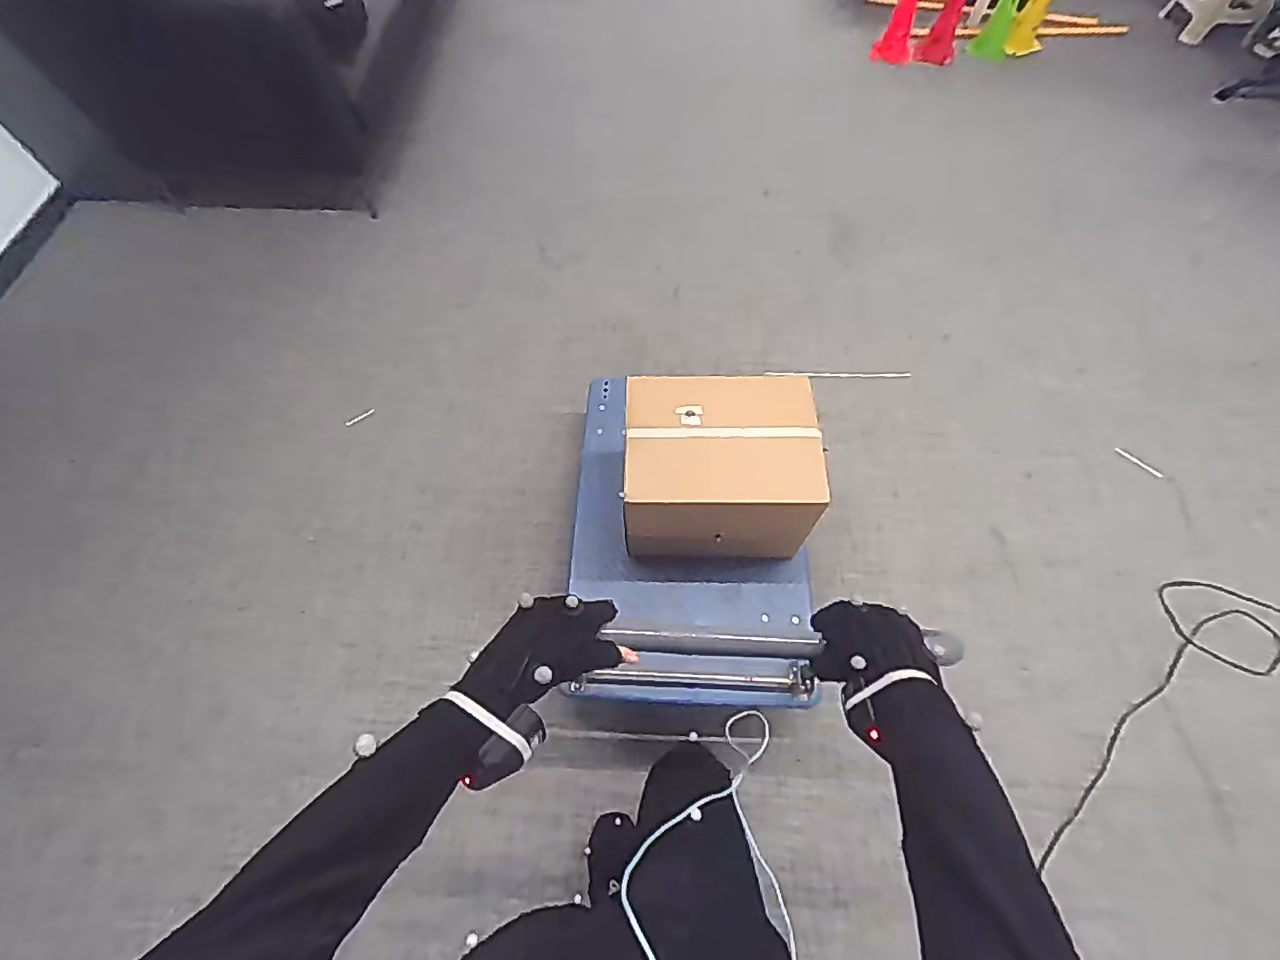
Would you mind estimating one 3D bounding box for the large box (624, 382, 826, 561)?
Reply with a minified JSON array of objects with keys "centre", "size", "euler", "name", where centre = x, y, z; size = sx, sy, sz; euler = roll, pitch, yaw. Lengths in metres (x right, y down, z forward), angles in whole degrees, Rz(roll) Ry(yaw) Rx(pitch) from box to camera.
[{"centre":[0.174,-0.007,1.270],"size":[0.408,0.320,0.320],"euler":[-2,61,1],"name":"large box"}]
